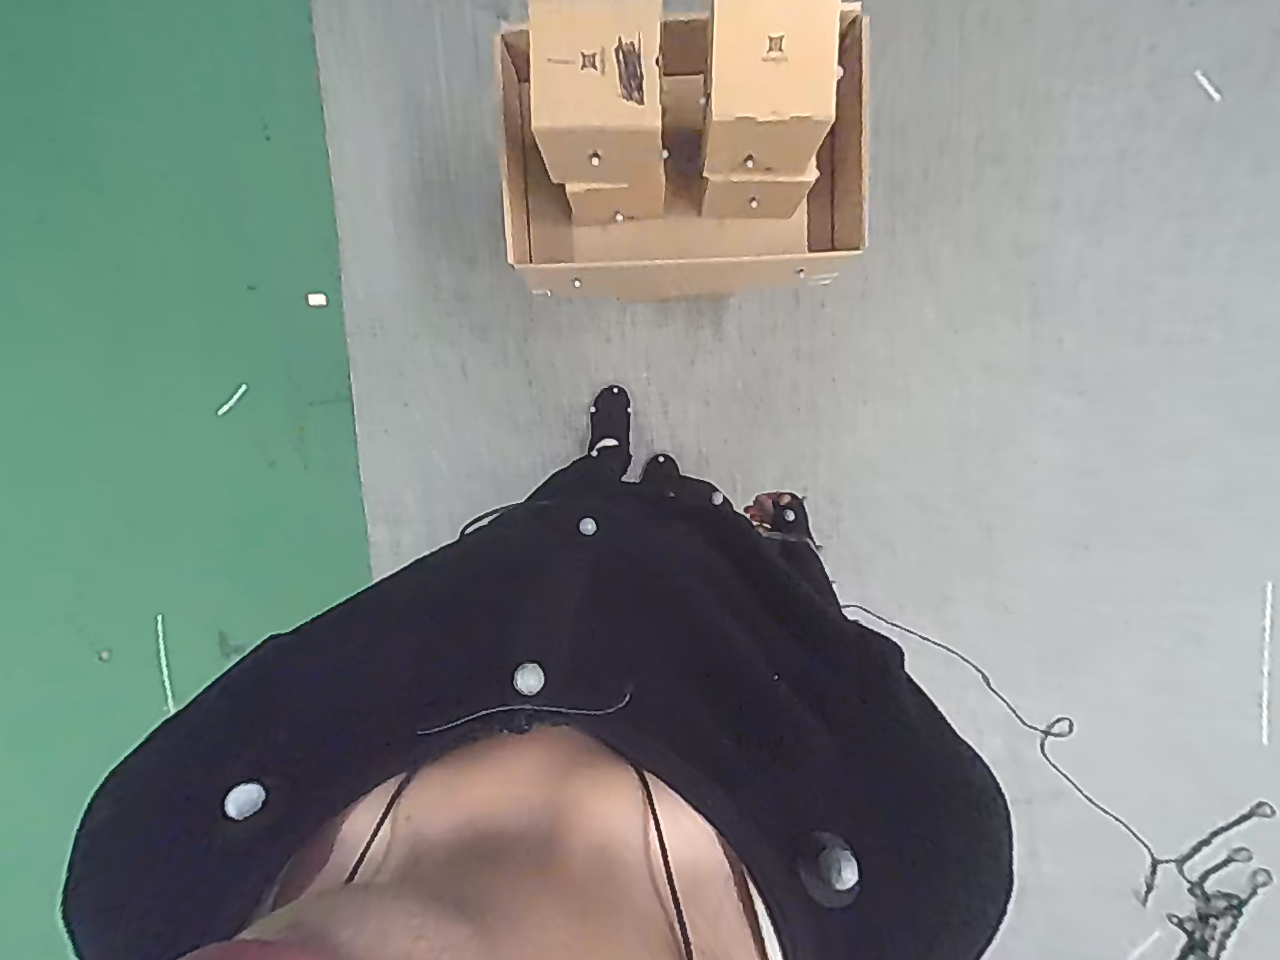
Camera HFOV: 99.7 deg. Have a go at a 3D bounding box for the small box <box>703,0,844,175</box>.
[{"bbox_3d":[0.181,-0.573,0.781,0.168,0.176,0.179,1,96,2],"label":"small box"}]

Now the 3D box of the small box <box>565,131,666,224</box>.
[{"bbox_3d":[-0.046,-0.575,0.947,0.168,0.176,0.179,-6,96,2],"label":"small box"}]

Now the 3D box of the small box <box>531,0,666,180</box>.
[{"bbox_3d":[-0.055,-0.557,0.784,0.179,0.176,0.168,1,95,1],"label":"small box"}]
